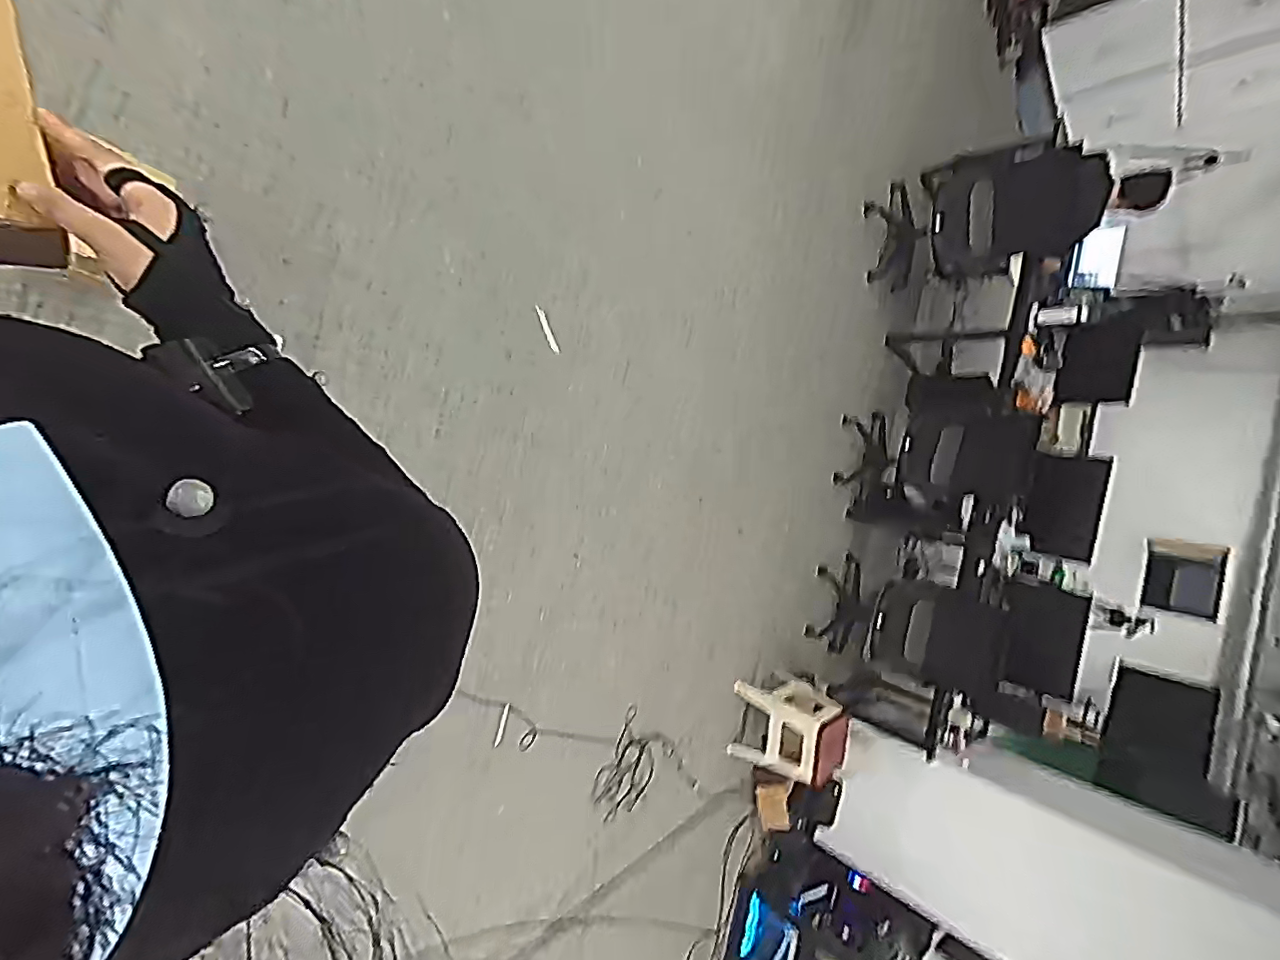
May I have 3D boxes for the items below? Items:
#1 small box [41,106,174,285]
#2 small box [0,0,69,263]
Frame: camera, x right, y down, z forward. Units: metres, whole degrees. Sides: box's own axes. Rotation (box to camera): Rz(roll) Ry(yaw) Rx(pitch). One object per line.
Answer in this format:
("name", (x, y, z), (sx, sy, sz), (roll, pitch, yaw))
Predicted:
("small box", (-0.883, -0.437, 0.861), (0.168, 0.176, 0.179), (23, 82, -43))
("small box", (-0.518, -0.255, 0.356), (0.168, 0.176, 0.179), (-15, 108, -44))
